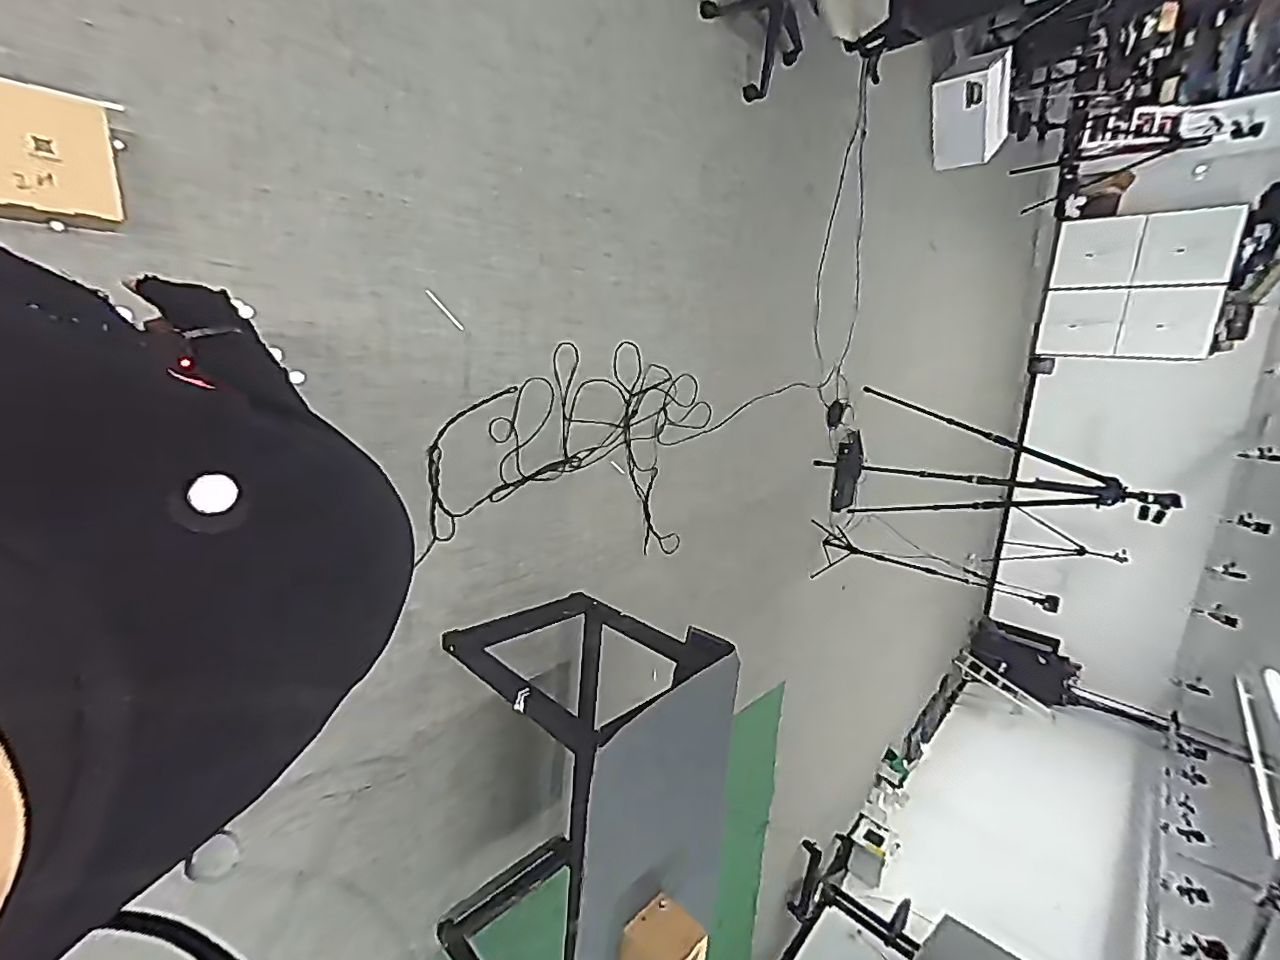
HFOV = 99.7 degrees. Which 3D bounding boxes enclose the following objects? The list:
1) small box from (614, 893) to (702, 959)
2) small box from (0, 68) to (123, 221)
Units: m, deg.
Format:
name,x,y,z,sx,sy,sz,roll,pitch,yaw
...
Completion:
name,x,y,z,sx,sy,sz,roll,pitch,yaw
small box,0.045,1.280,1.471,0.168,0.176,0.179,-5,106,-47
small box,-0.988,-0.546,0.895,0.168,0.176,0.179,-11,110,-44
